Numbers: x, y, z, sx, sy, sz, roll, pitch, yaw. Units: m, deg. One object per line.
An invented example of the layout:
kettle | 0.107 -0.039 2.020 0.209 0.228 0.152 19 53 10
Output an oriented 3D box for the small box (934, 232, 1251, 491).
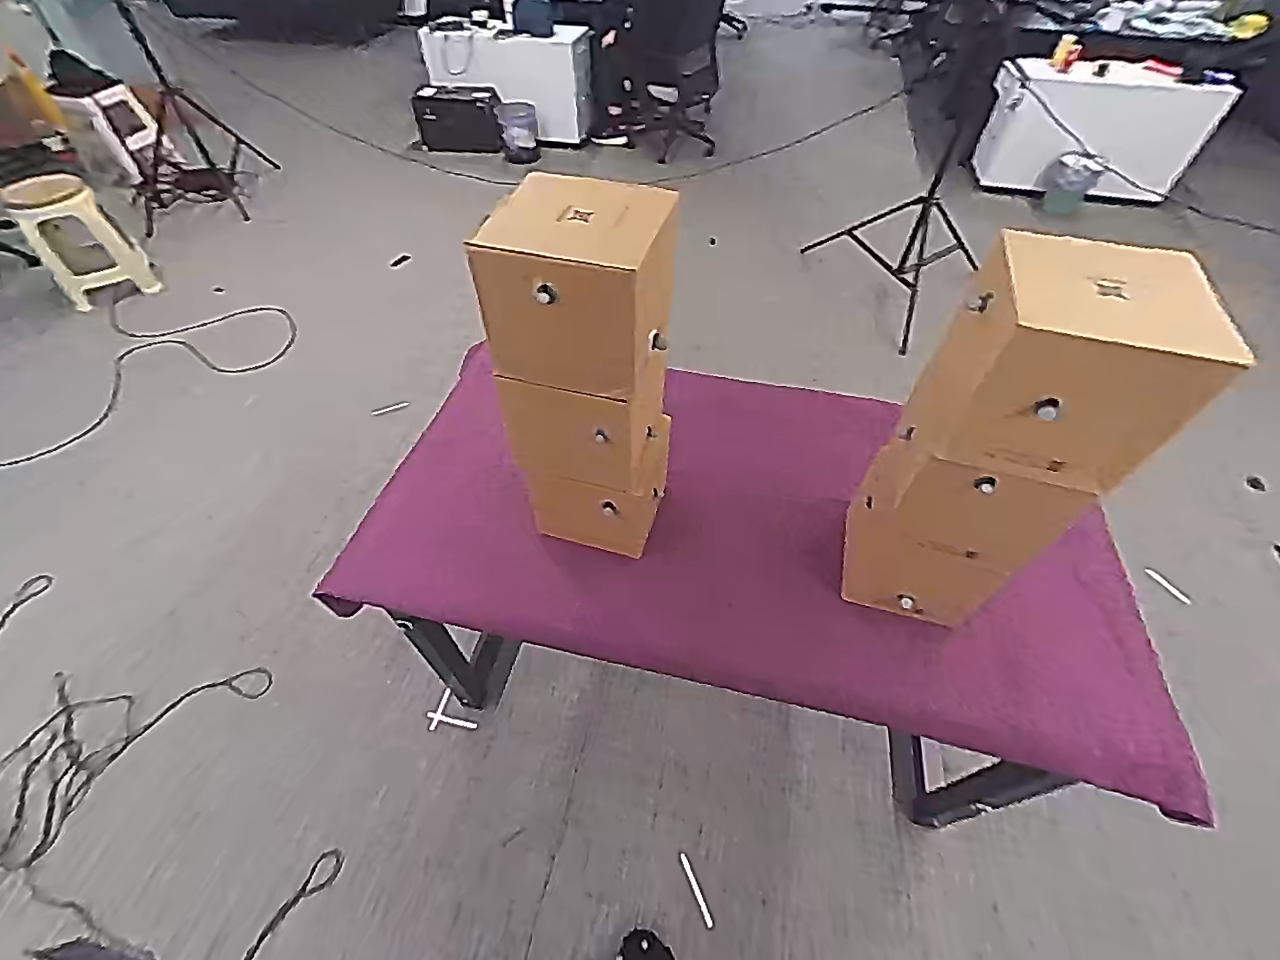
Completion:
small box | 0.408 -0.114 0.532 0.168 0.176 0.179 14 51 12

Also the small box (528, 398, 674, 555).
small box | -0.054 -0.001 0.861 0.179 0.176 0.168 13 51 11

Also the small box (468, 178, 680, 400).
small box | -0.062 -0.212 0.611 0.179 0.176 0.168 13 53 9

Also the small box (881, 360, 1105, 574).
small box | 0.409 -0.016 0.662 0.168 0.176 0.179 14 51 12

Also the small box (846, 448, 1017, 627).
small box | 0.410 0.085 0.792 0.168 0.176 0.179 13 52 11
